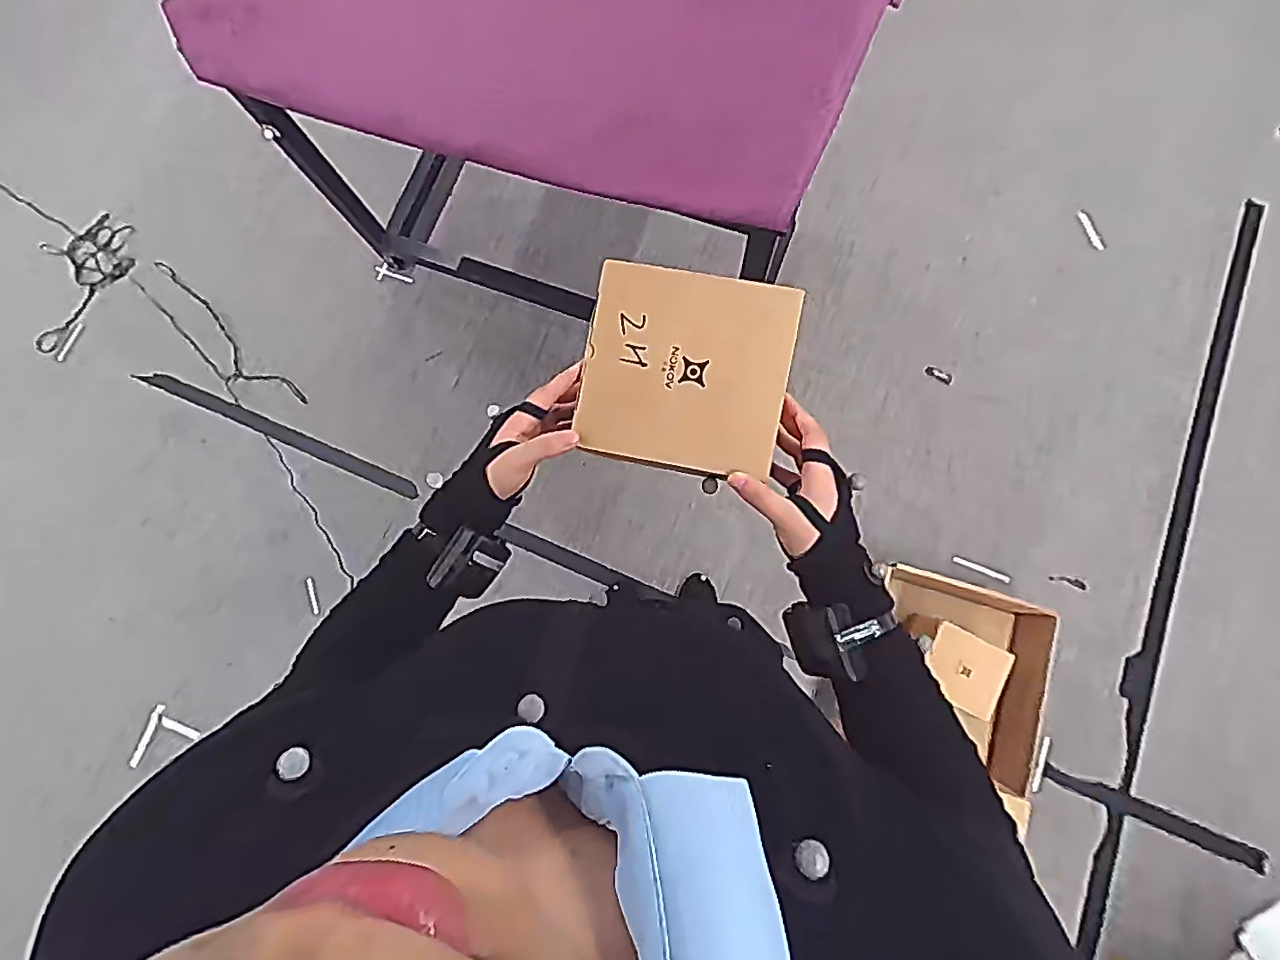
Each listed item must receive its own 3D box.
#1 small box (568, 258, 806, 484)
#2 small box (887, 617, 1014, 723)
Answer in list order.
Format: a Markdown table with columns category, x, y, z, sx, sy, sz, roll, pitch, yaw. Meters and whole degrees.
| category | x | y | z | sx | sy | sz | roll | pitch | yaw |
| --- | --- | --- | --- | --- | --- | --- | --- | --- | --- |
| small box | 0.045 | -0.093 | 0.533 | 0.179 | 0.176 | 0.168 | 11 | 90 | 6 |
| small box | 0.734 | 0.443 | 1.296 | 0.179 | 0.176 | 0.168 | 27 | 84 | 8 |
